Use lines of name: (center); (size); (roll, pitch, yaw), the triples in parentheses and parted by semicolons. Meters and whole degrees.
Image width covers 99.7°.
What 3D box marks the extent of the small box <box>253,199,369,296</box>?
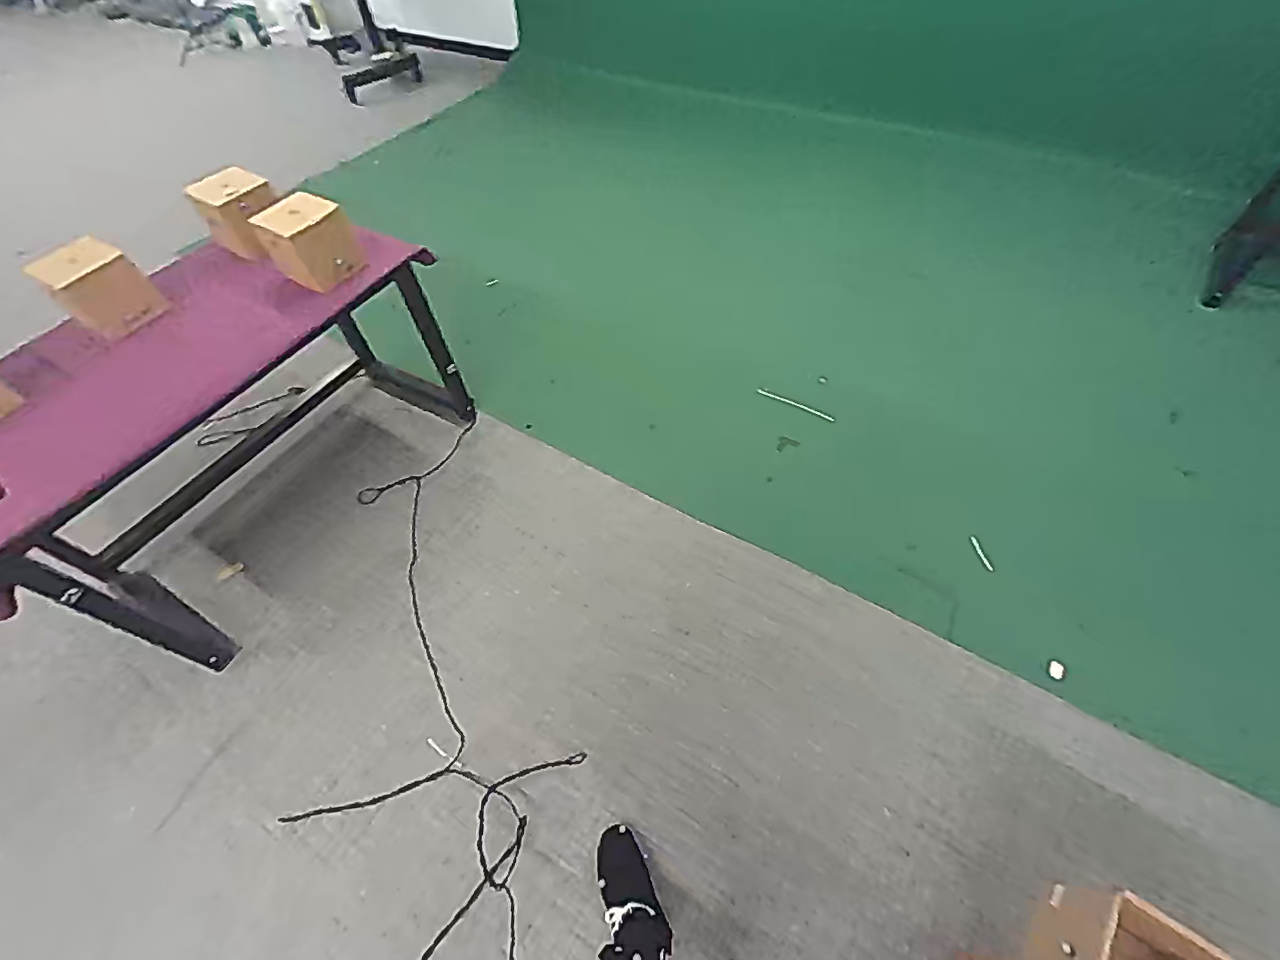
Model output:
small box: (-0.888, -0.629, 1.472); (0.179, 0.176, 0.168); (27, 61, 21)

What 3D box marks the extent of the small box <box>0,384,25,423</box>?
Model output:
small box: (-1.560, -0.193, 1.200); (0.179, 0.176, 0.168); (21, 57, 19)

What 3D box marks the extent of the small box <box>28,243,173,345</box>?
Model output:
small box: (-1.384, -0.478, 1.399); (0.179, 0.176, 0.168); (25, 60, 19)

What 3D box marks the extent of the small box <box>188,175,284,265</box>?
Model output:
small box: (-1.153, -0.760, 1.588); (0.179, 0.176, 0.168); (27, 61, 21)
